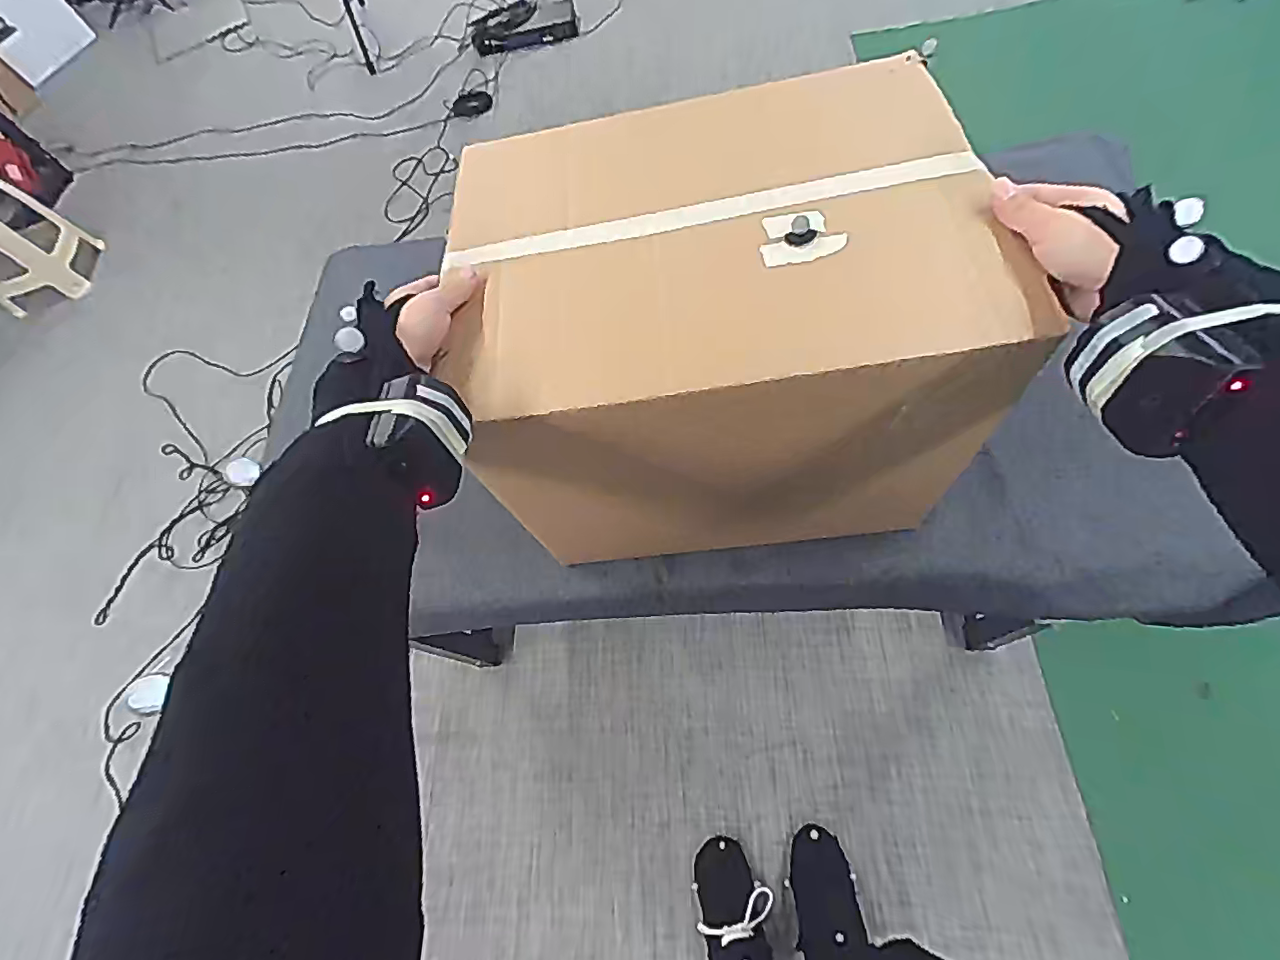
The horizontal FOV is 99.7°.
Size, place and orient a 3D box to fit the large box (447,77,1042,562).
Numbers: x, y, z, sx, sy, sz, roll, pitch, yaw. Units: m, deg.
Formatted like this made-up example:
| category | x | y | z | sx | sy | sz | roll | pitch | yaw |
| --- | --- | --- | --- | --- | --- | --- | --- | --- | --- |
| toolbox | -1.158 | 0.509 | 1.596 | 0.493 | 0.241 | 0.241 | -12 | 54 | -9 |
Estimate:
| category | x | y | z | sx | sy | sz | roll | pitch | yaw |
| --- | --- | --- | --- | --- | --- | --- | --- | --- | --- |
| large box | 0.069 | -0.129 | 0.556 | 0.408 | 0.320 | 0.320 | -7 | 63 | 6 |
